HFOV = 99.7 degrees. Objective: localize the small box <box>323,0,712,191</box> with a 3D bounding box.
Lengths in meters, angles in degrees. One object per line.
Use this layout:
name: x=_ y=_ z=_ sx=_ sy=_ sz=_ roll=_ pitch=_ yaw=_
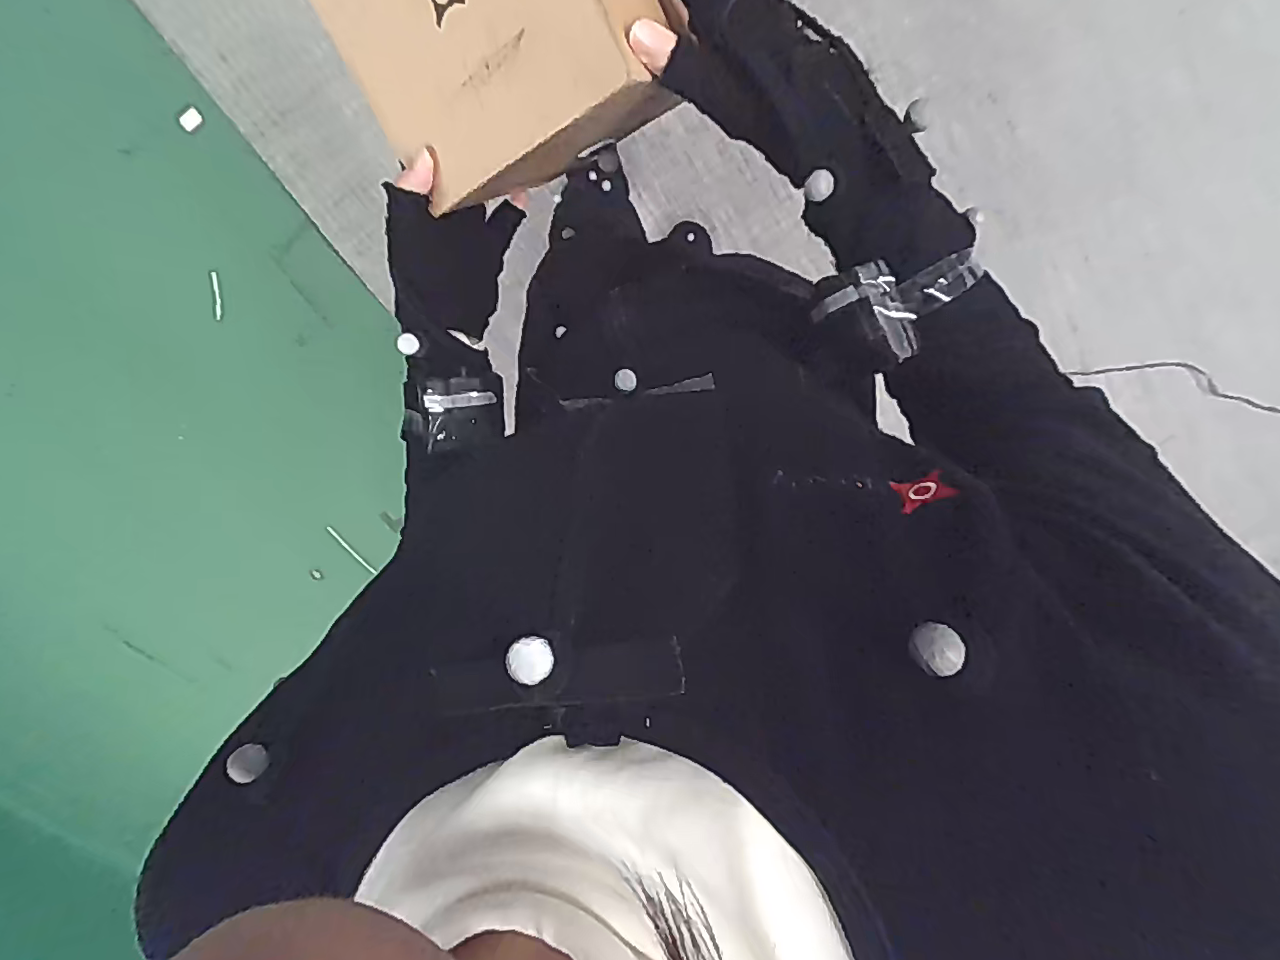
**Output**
small box: x=-0.075 y=-0.314 z=0.341 sx=0.168 sy=0.176 sz=0.179 roll=-10 pitch=118 yaw=33
